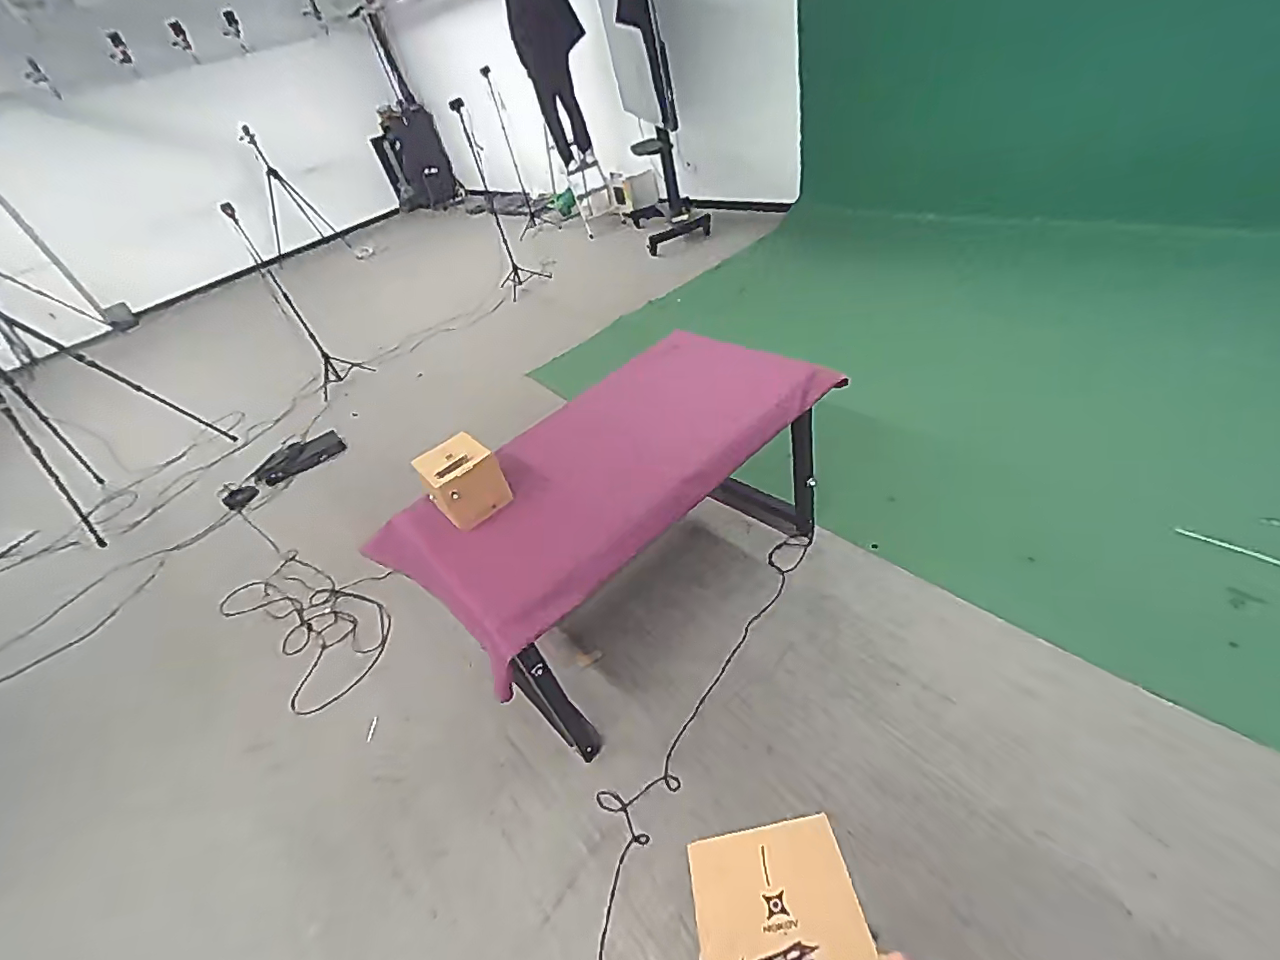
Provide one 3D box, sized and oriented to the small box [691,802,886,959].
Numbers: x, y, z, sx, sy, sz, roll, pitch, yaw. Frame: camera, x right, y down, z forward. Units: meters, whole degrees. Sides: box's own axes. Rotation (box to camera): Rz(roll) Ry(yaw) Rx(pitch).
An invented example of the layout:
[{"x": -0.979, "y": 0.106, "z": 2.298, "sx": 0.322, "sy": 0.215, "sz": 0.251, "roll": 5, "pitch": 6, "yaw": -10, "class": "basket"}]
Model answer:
[{"x": 0.162, "y": 0.494, "z": 0.579, "sx": 0.168, "sy": 0.176, "sz": 0.179, "roll": -15, "pitch": 25, "yaw": 4, "class": "small box"}]
